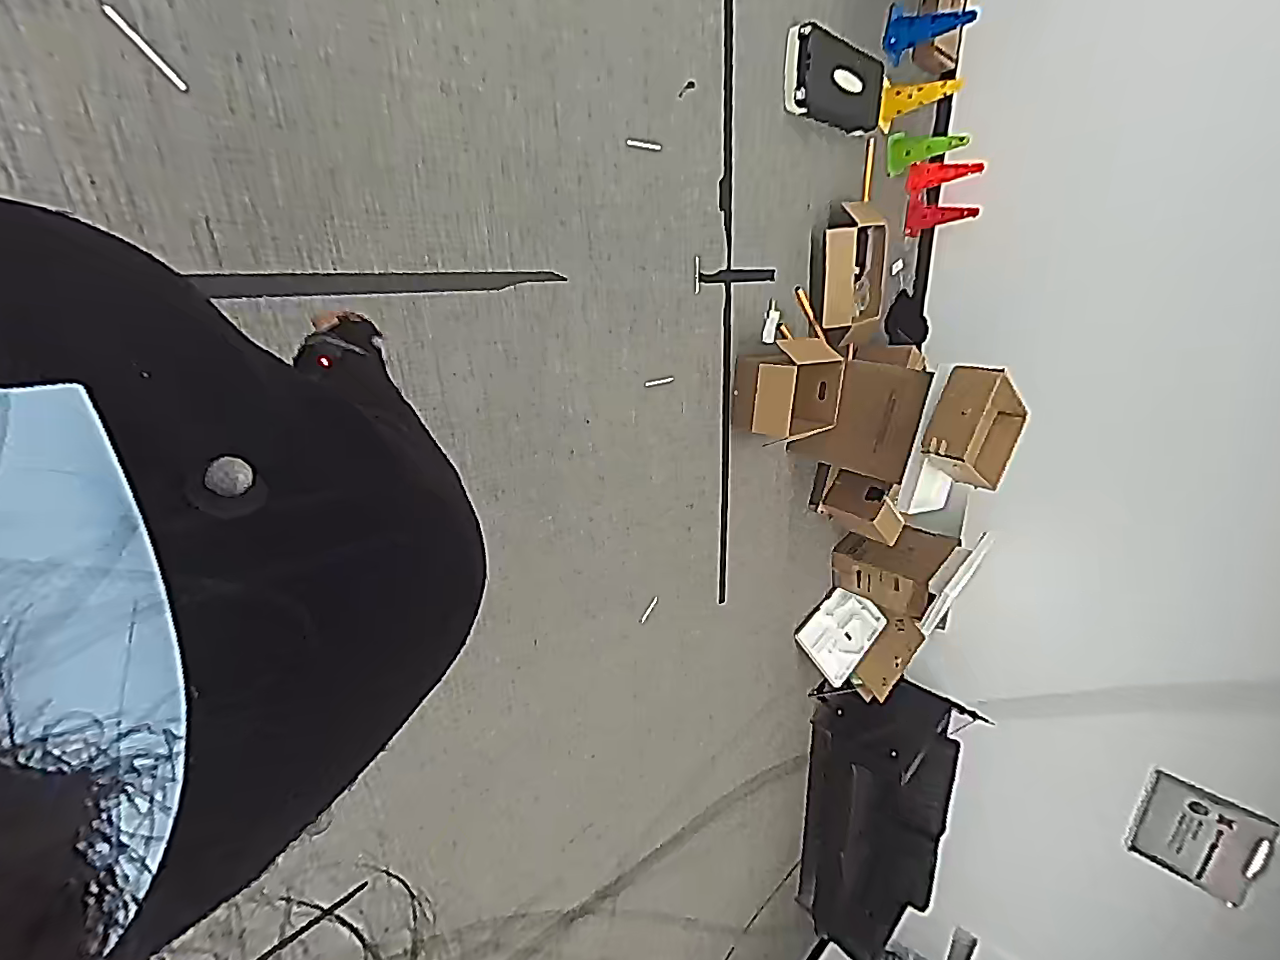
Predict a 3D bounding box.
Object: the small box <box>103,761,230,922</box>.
[{"bbox_3d":[-0.971,0.728,1.111,0.168,0.176,0.179,-15,113,-42],"label":"small box"}]
